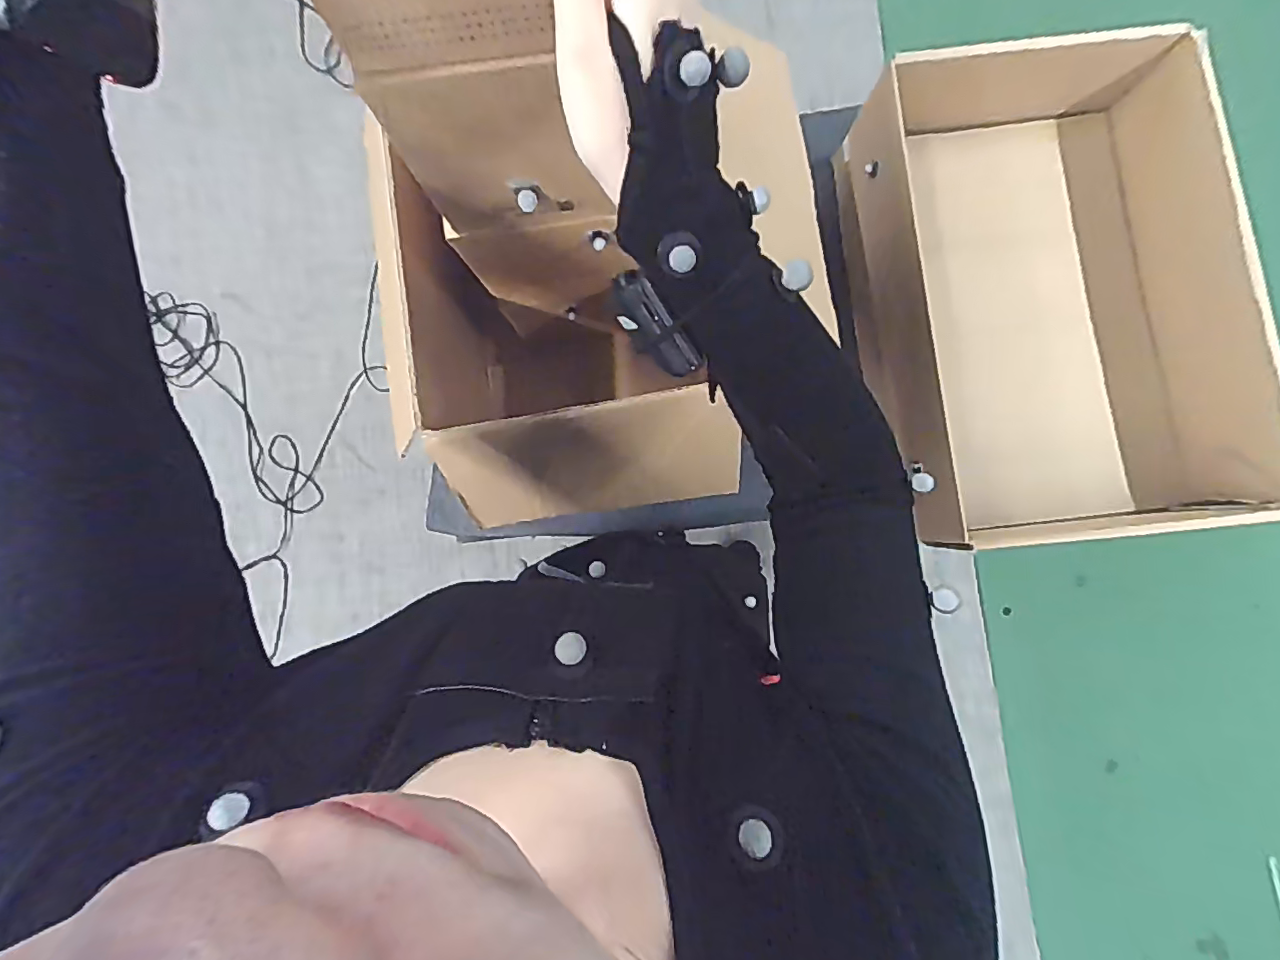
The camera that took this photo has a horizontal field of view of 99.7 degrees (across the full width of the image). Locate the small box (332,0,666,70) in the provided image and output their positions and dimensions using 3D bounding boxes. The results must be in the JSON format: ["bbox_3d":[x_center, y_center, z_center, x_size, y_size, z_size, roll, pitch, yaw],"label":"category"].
[{"bbox_3d":[-0.082,-0.326,0.240,0.179,0.176,0.168,-7,87,1],"label":"small box"}]

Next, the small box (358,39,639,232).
[{"bbox_3d":[-0.091,-0.316,0.403,0.168,0.176,0.179,-6,88,0],"label":"small box"}]
